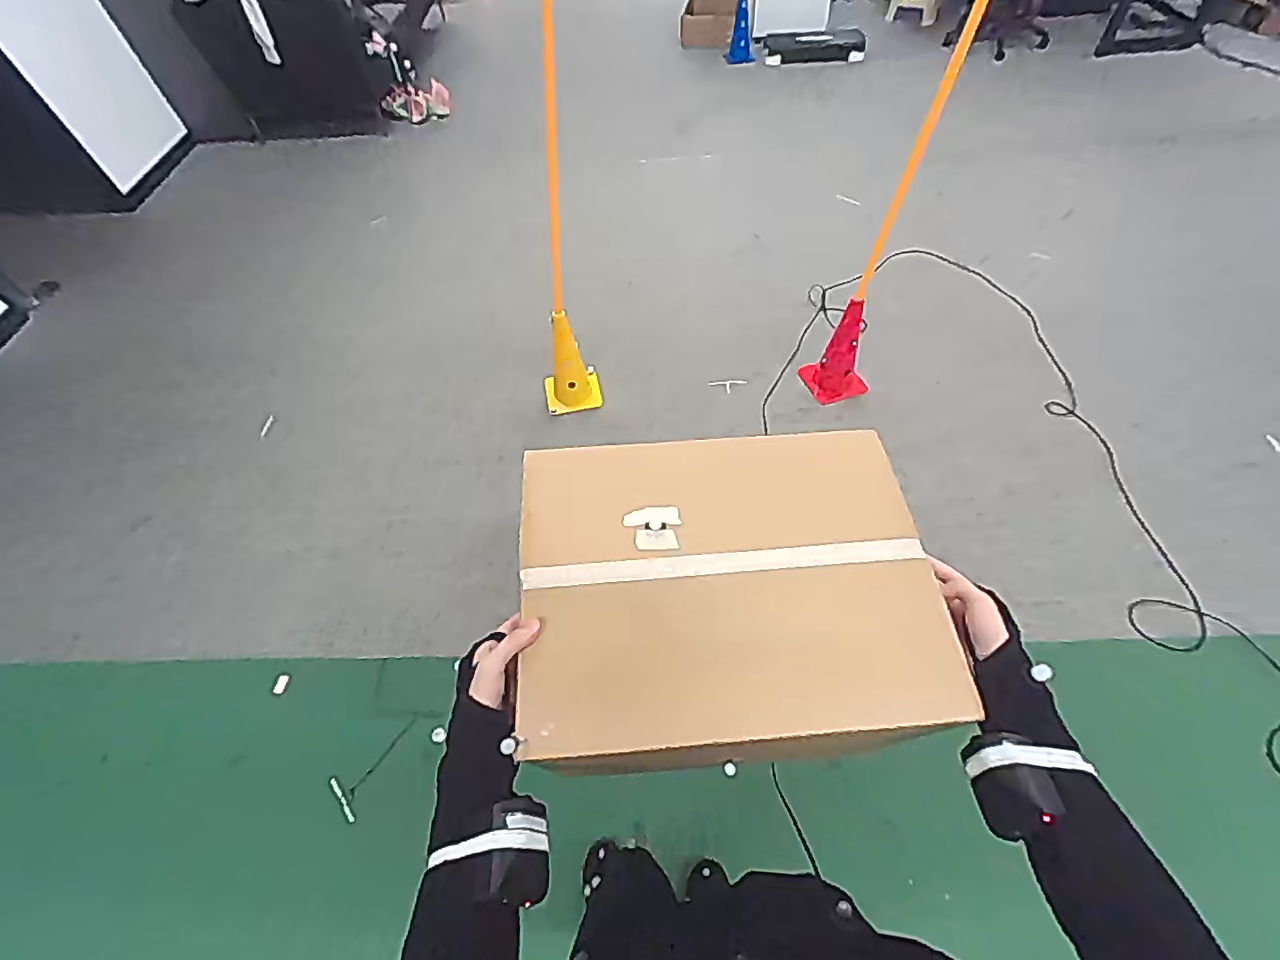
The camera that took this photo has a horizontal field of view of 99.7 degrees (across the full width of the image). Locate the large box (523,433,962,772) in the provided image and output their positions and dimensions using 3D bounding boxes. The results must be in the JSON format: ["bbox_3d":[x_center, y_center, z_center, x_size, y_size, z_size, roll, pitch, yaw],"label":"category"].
[{"bbox_3d":[0.085,0.169,0.680,0.408,0.320,0.320,-5,58,-2],"label":"large box"}]
